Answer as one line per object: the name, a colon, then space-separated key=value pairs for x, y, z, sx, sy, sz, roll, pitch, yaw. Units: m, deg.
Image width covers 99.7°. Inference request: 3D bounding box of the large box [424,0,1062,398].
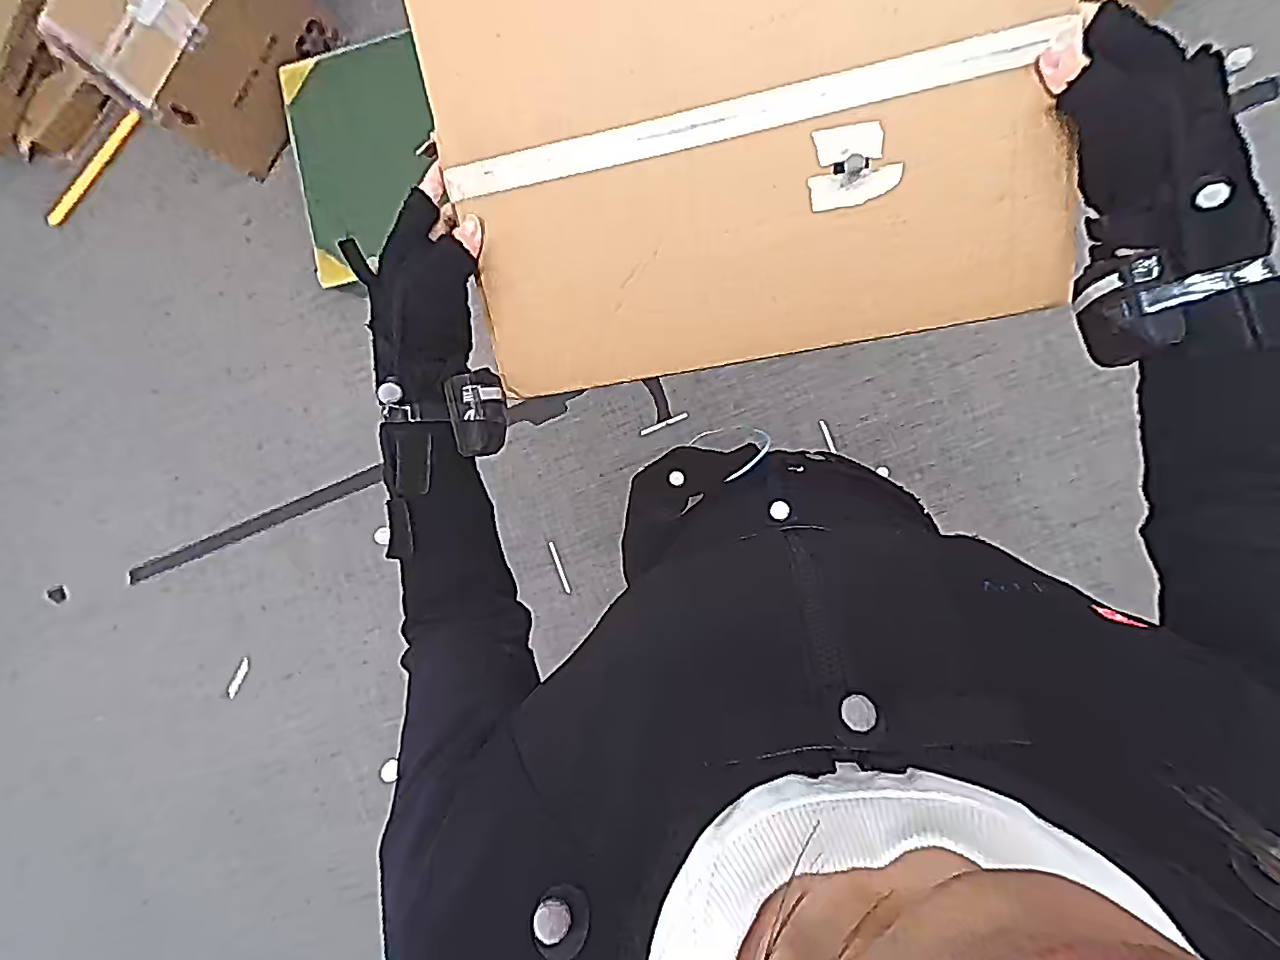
large box: x=0.082 y=-0.282 z=0.511 sx=0.408 sy=0.320 sz=0.320 roll=-9 pitch=106 yaw=8
